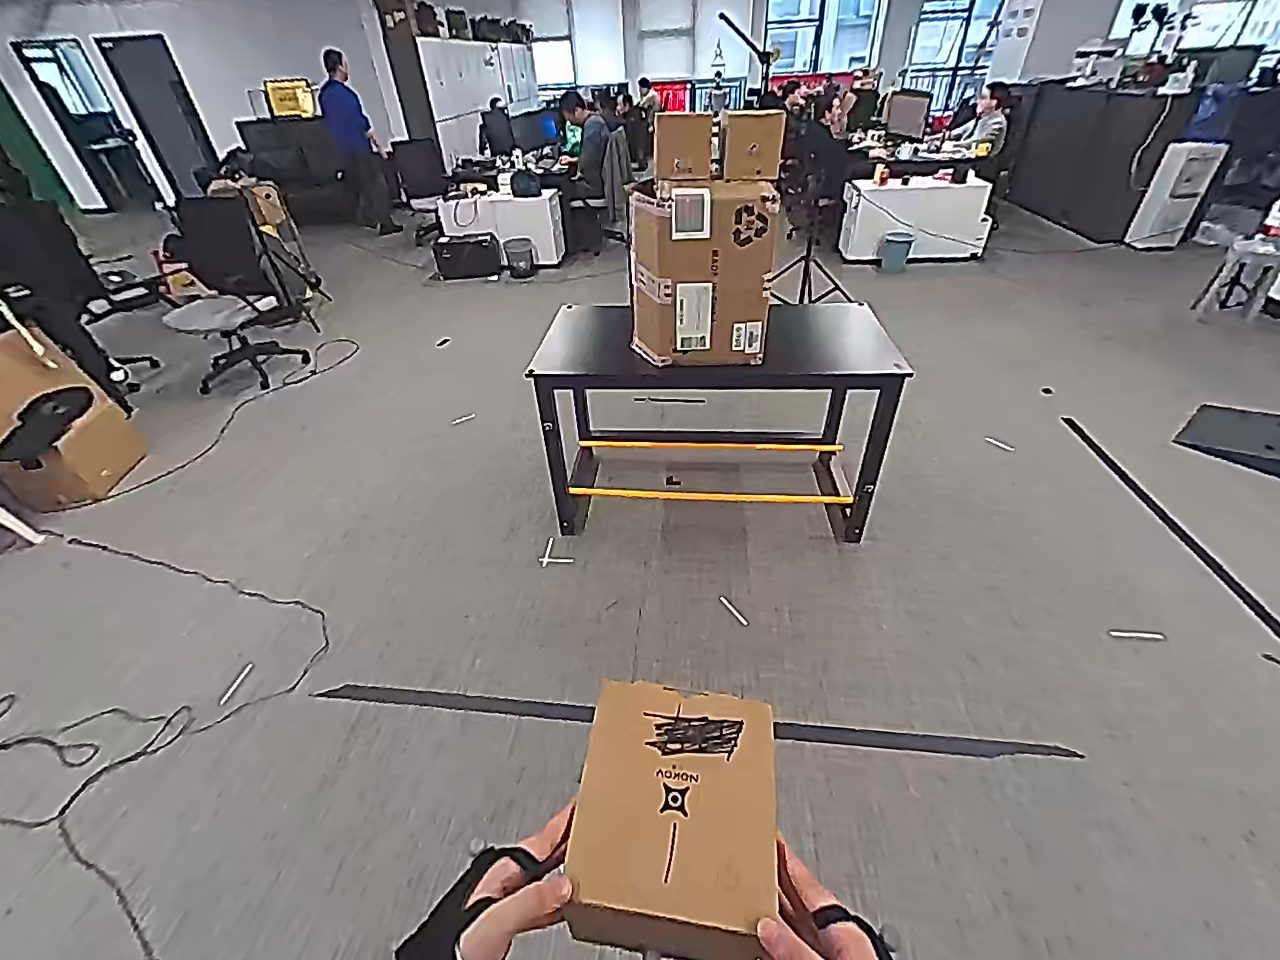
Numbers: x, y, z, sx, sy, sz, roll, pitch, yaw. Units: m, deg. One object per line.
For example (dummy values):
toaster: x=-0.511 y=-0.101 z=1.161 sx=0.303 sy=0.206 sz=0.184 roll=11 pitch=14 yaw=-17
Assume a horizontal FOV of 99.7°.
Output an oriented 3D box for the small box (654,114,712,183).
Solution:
small box: x=0.125 y=-1.011 z=1.649 sx=0.168 sy=0.176 sz=0.179 roll=-2 pitch=36 yaw=1

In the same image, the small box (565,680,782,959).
small box: x=0.033 y=0.322 z=0.512 sx=0.168 sy=0.176 sz=0.179 roll=6 pitch=42 yaw=6

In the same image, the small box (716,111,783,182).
small box: x=0.324 y=-1.009 z=1.636 sx=0.168 sy=0.176 sz=0.179 roll=0 pitch=37 yaw=0
